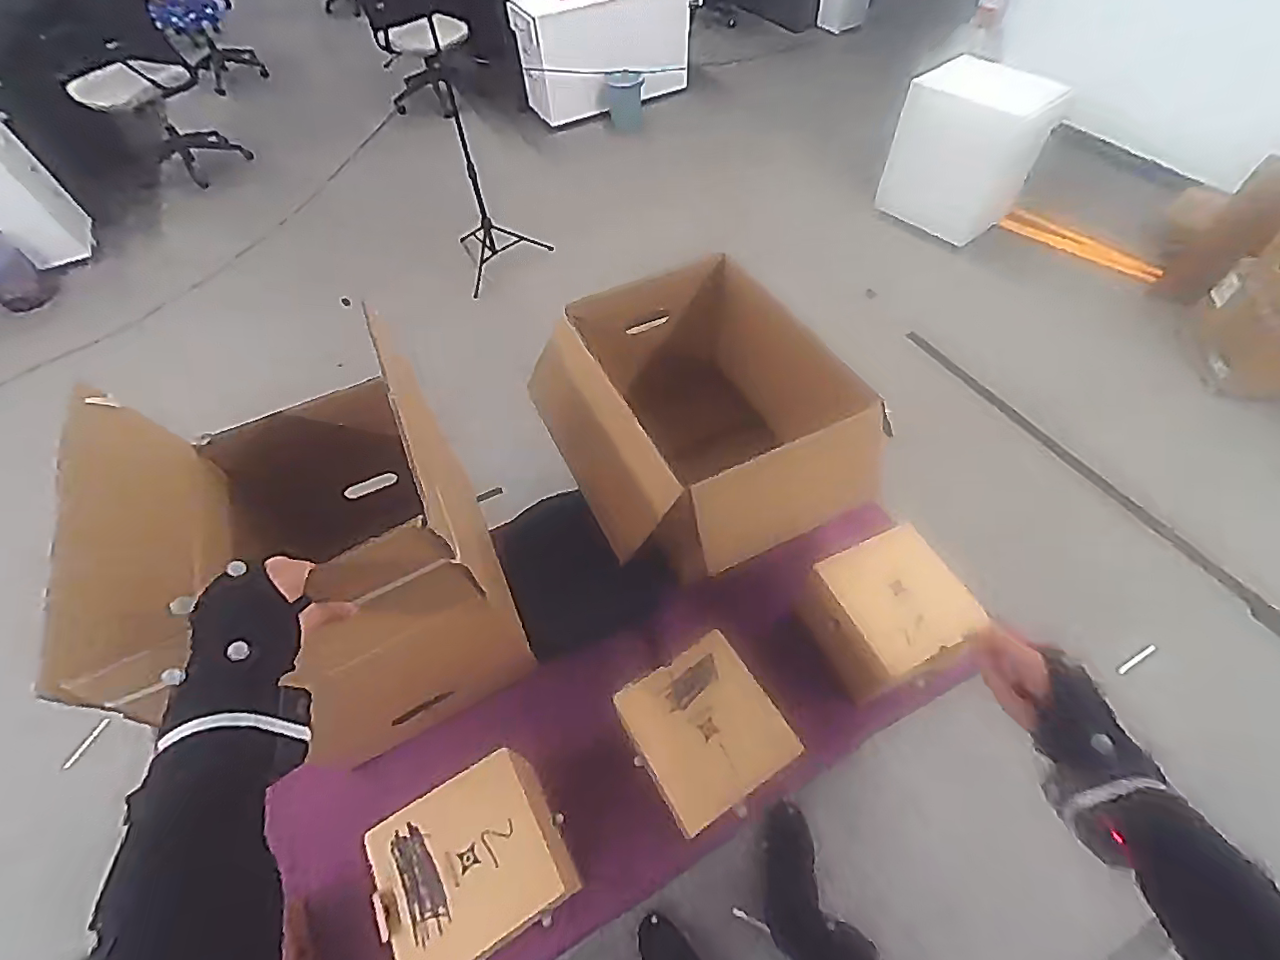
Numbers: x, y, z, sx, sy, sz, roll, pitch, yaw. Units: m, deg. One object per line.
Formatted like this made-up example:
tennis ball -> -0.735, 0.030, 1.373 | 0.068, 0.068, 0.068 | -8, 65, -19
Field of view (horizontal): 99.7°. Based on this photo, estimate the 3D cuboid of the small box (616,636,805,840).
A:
small box -> 0.083, 0.345, 0.715 | 0.168, 0.176, 0.179 | -28, 59, -15

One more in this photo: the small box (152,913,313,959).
small box -> -0.471, 0.603, 0.570 | 0.179, 0.176, 0.168 | -28, 58, -17

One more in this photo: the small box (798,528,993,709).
small box -> 0.354, 0.206, 0.794 | 0.168, 0.176, 0.179 | -22, 56, -10
